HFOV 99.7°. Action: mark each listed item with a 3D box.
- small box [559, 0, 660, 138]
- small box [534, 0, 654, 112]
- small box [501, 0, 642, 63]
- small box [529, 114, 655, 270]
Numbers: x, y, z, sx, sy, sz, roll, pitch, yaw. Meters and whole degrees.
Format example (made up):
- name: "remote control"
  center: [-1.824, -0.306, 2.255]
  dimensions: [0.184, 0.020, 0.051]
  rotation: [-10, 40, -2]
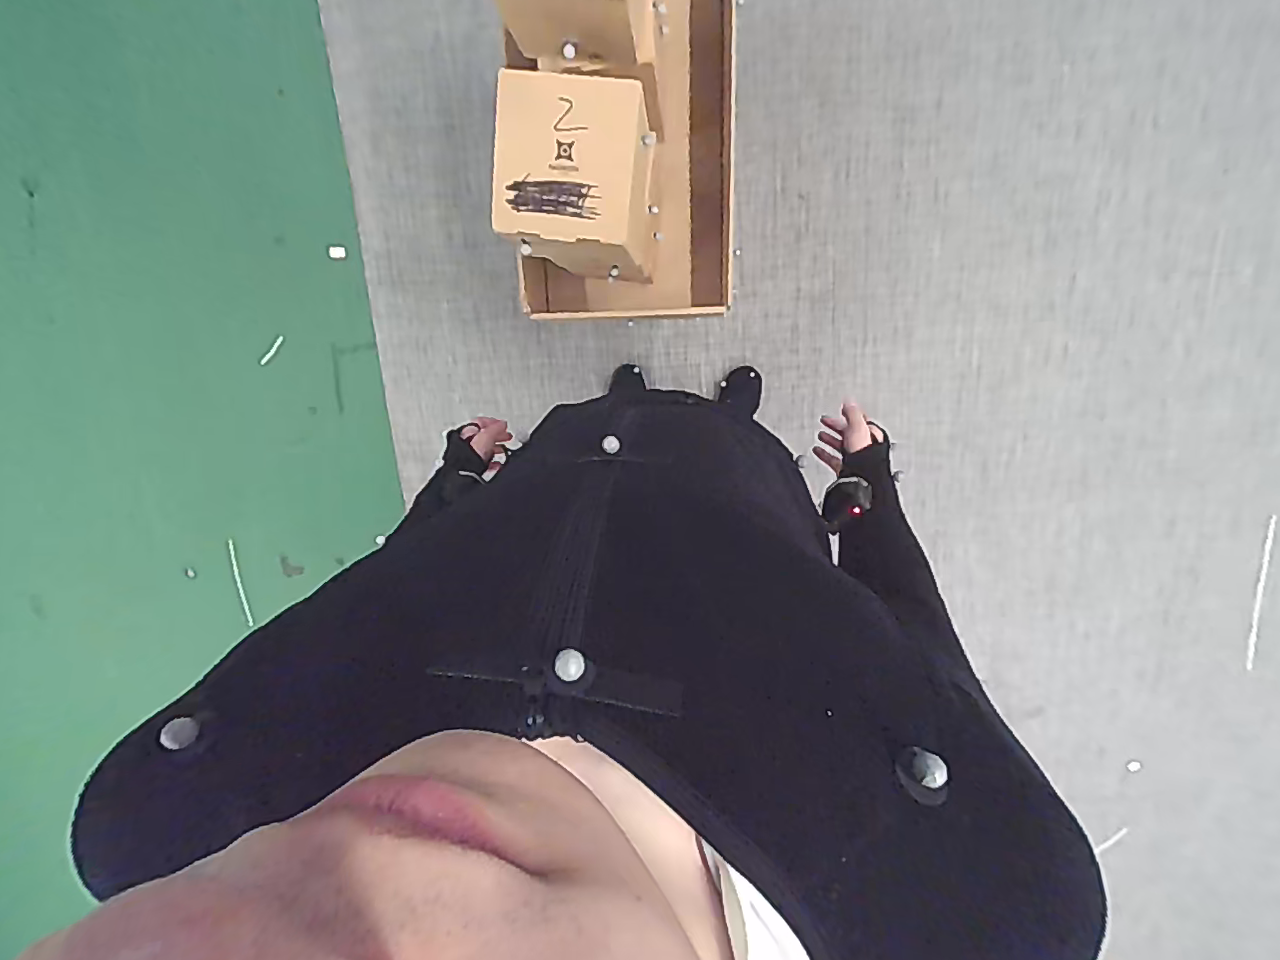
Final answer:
- name: "small box"
  center: [-0.052, -0.731, 0.964]
  dimensions: [0.168, 0.176, 0.179]
  rotation: [-1, 105, 6]
- name: "small box"
  center: [-0.067, -0.687, 0.809]
  dimensions: [0.168, 0.176, 0.179]
  rotation: [-2, 106, 5]
- name: "small box"
  center: [-0.084, -0.649, 0.650]
  dimensions: [0.168, 0.176, 0.179]
  rotation: [7, 107, 3]
- name: "small box"
  center: [-0.069, -0.445, 0.865]
  dimensions: [0.168, 0.176, 0.179]
  rotation: [9, 103, 2]
